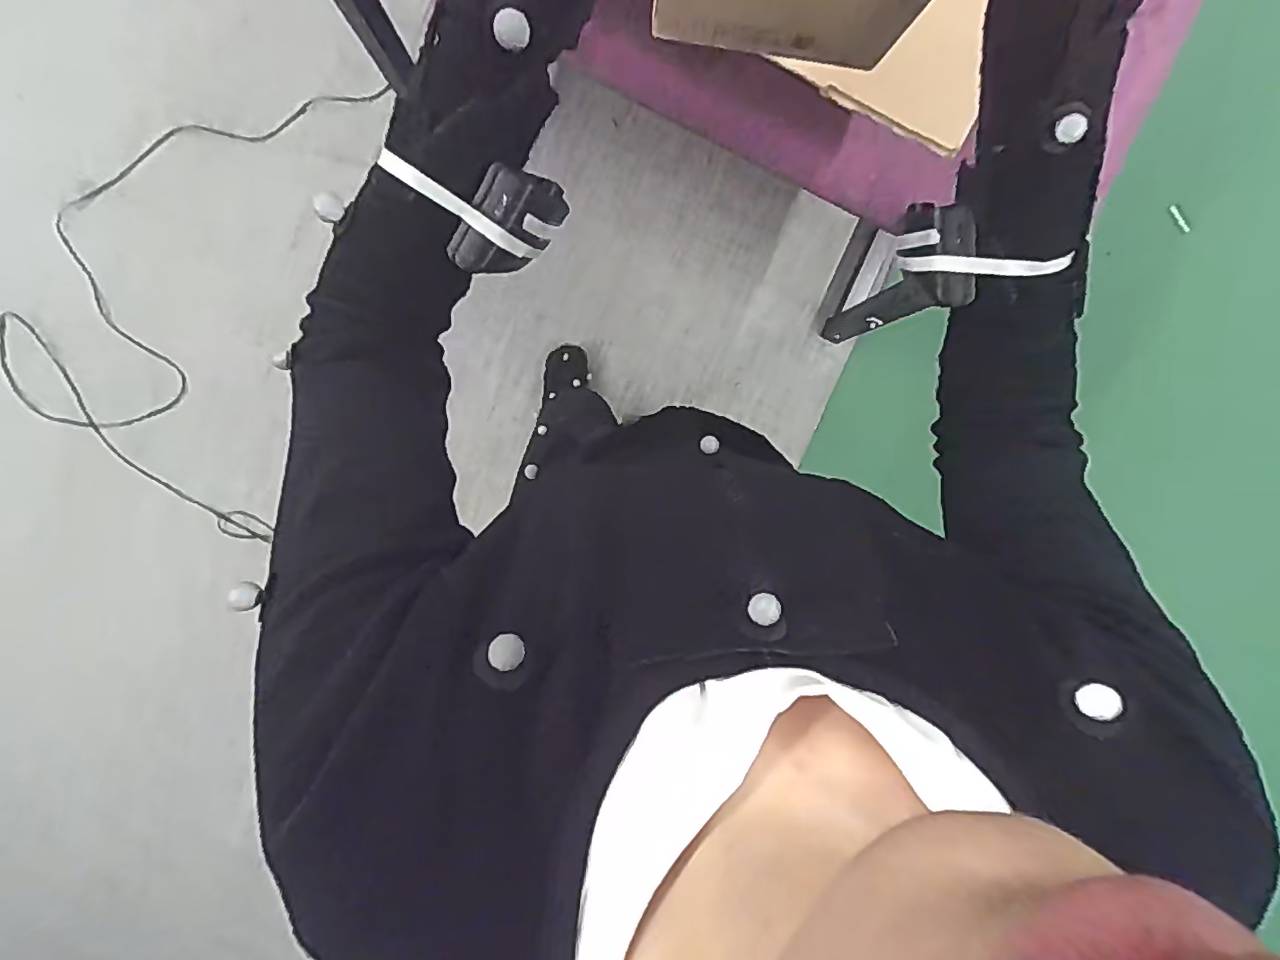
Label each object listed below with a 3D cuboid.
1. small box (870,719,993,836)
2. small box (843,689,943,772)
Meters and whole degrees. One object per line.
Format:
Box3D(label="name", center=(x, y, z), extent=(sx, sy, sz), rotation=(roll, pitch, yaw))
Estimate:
Box3D(label="small box", center=(0.706, 0.722, 1.329), extent=(0.179, 0.176, 0.168), rotation=(20, 95, -4))
Box3D(label="small box", center=(0.697, 0.707, 1.491), extent=(0.179, 0.176, 0.168), rotation=(22, 94, -5))
